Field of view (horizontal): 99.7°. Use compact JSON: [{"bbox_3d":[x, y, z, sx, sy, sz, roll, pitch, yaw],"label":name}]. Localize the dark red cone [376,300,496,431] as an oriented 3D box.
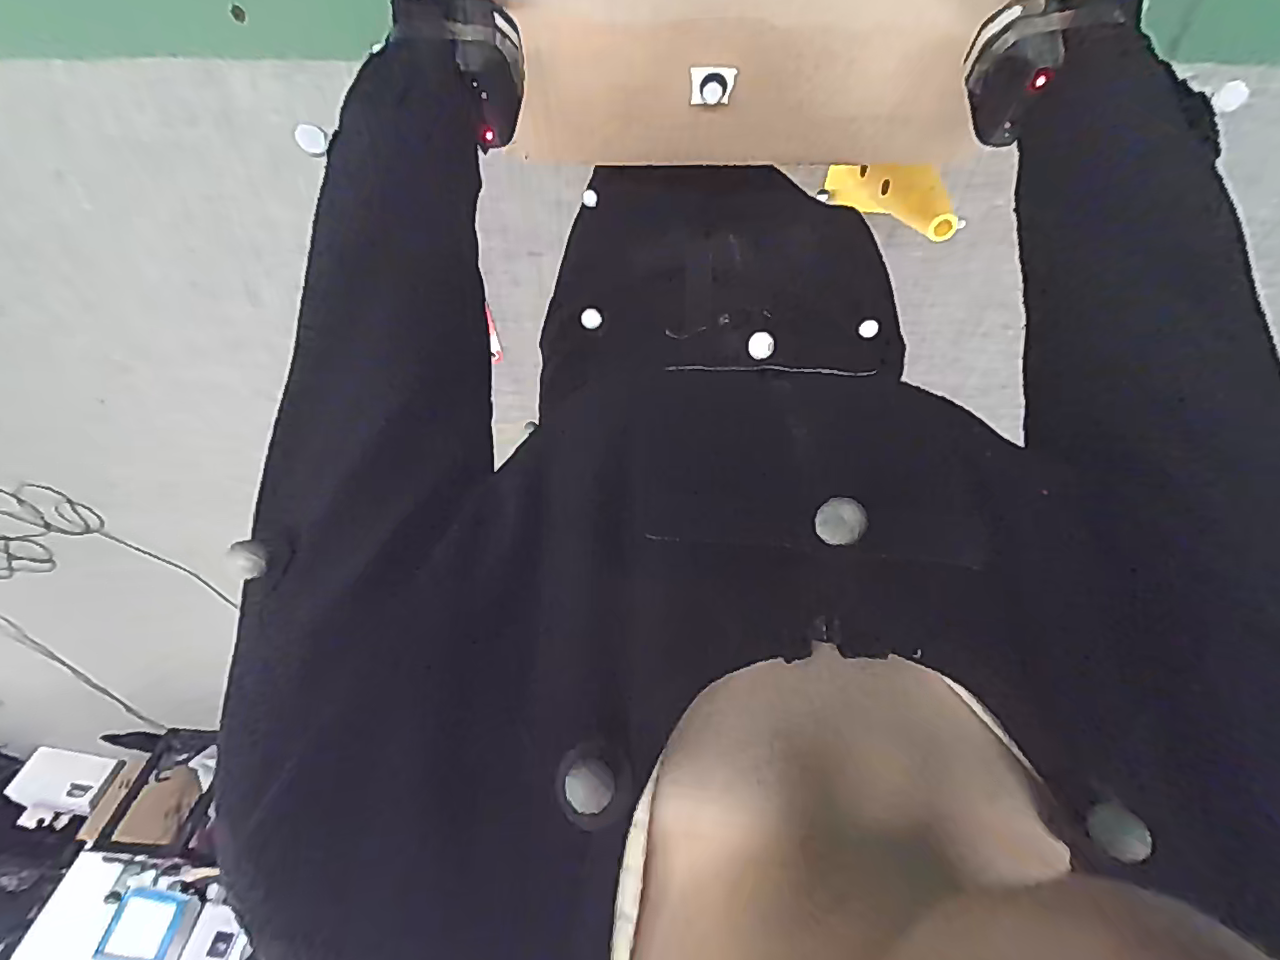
[{"bbox_3d":[-0.485,-0.239,1.220,0.202,0.394,0.201,-2,131,9],"label":"dark red cone"}]
